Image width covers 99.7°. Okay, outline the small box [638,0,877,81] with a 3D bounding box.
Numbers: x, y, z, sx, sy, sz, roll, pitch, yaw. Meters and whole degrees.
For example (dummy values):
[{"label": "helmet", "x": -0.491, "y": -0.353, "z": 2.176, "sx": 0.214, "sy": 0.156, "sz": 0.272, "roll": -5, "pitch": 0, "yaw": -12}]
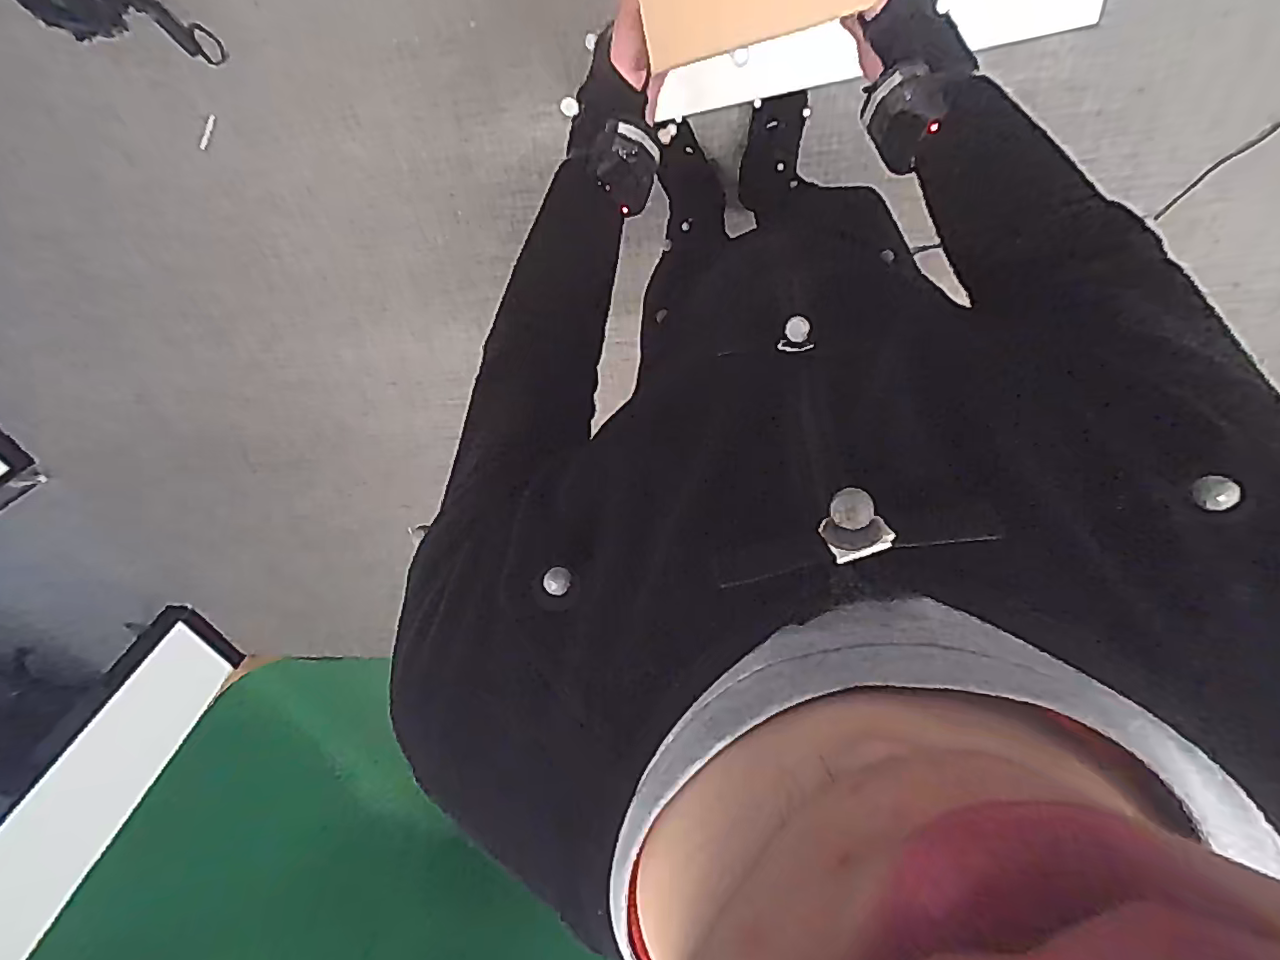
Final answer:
[{"label": "small box", "x": 0.079, "y": -0.431, "z": 0.409, "sx": 0.168, "sy": 0.176, "sz": 0.179, "roll": -5, "pitch": 129, "yaw": 15}]
